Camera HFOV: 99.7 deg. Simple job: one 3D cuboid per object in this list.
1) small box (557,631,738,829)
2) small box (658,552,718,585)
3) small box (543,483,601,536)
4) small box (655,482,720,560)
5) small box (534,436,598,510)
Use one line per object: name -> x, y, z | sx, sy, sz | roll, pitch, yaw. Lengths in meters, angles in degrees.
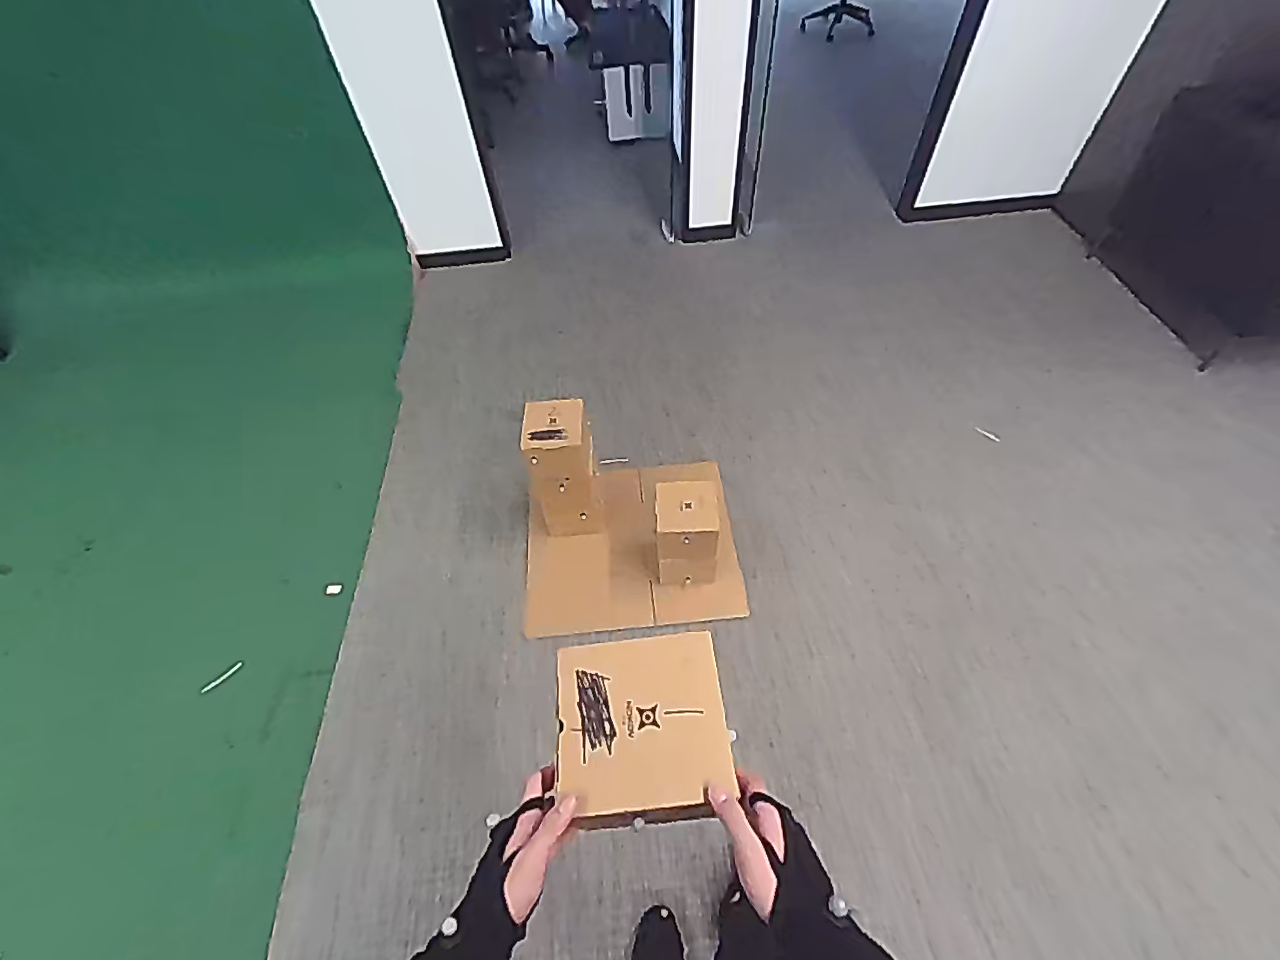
small box -> 0.008, 0.290, 0.618 | 0.179, 0.176, 0.168 | -7, 54, 1
small box -> 0.145, 0.221, 1.699 | 0.179, 0.176, 0.168 | -3, 54, 1
small box -> -0.223, 0.076, 1.821 | 0.179, 0.176, 0.168 | -5, 54, 0
small box -> 0.135, 0.123, 1.569 | 0.179, 0.176, 0.168 | -1, 55, 2
small box -> -0.224, -0.019, 1.691 | 0.179, 0.176, 0.168 | -5, 55, 1
